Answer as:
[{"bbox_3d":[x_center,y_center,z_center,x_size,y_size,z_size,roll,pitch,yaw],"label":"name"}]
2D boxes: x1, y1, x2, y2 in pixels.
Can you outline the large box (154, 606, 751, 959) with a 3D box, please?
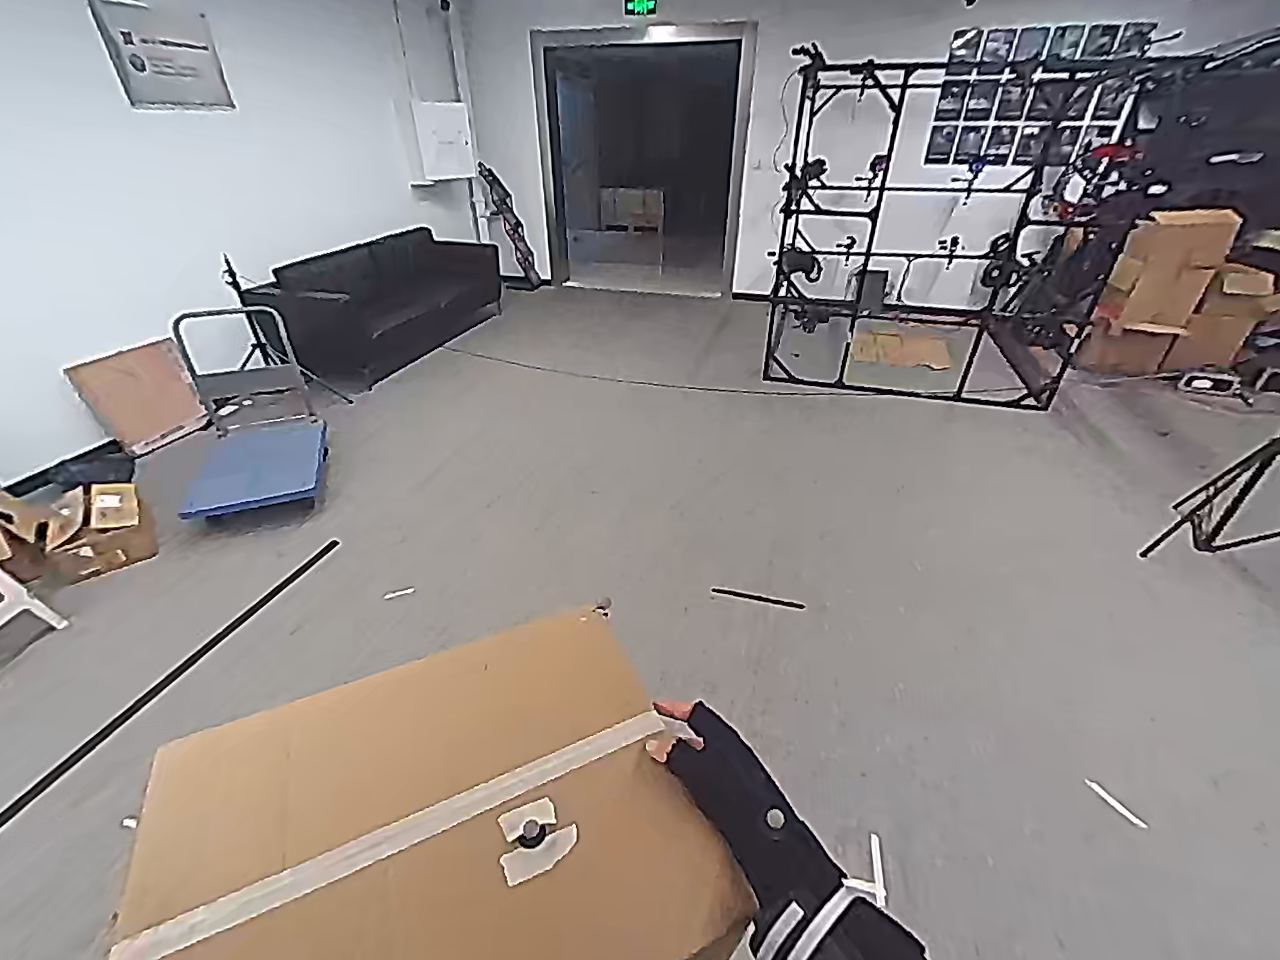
[{"bbox_3d":[-0.163,0.392,0.534,0.408,0.320,0.320,-13,40,-22],"label":"large box"}]
